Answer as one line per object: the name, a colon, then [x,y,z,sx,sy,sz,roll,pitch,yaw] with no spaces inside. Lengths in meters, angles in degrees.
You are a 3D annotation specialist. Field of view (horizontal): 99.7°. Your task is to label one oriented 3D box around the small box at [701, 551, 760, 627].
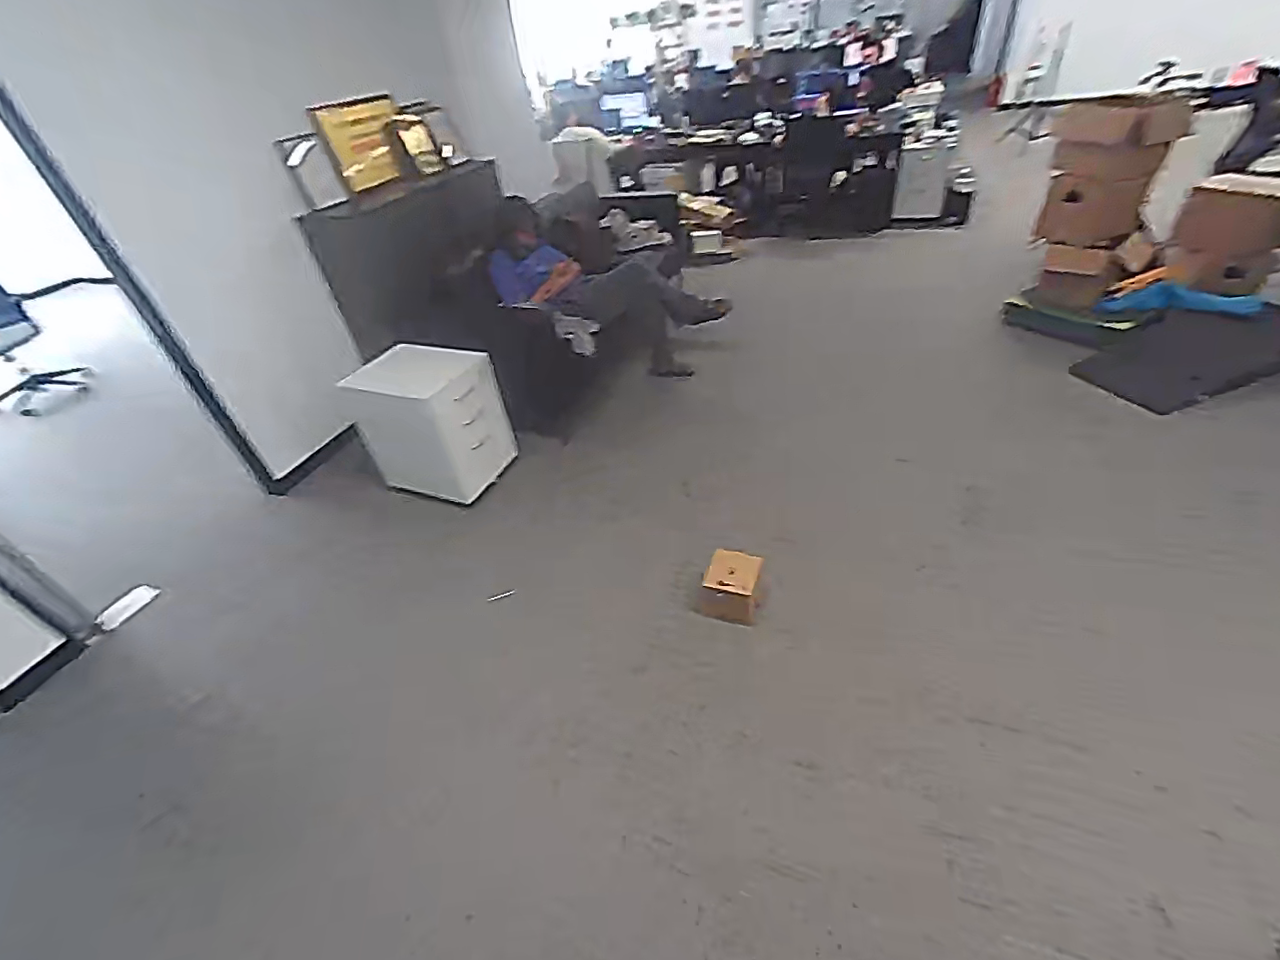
small box: [0.316,0.379,1.886,0.168,0.176,0.179,9,41,22]
